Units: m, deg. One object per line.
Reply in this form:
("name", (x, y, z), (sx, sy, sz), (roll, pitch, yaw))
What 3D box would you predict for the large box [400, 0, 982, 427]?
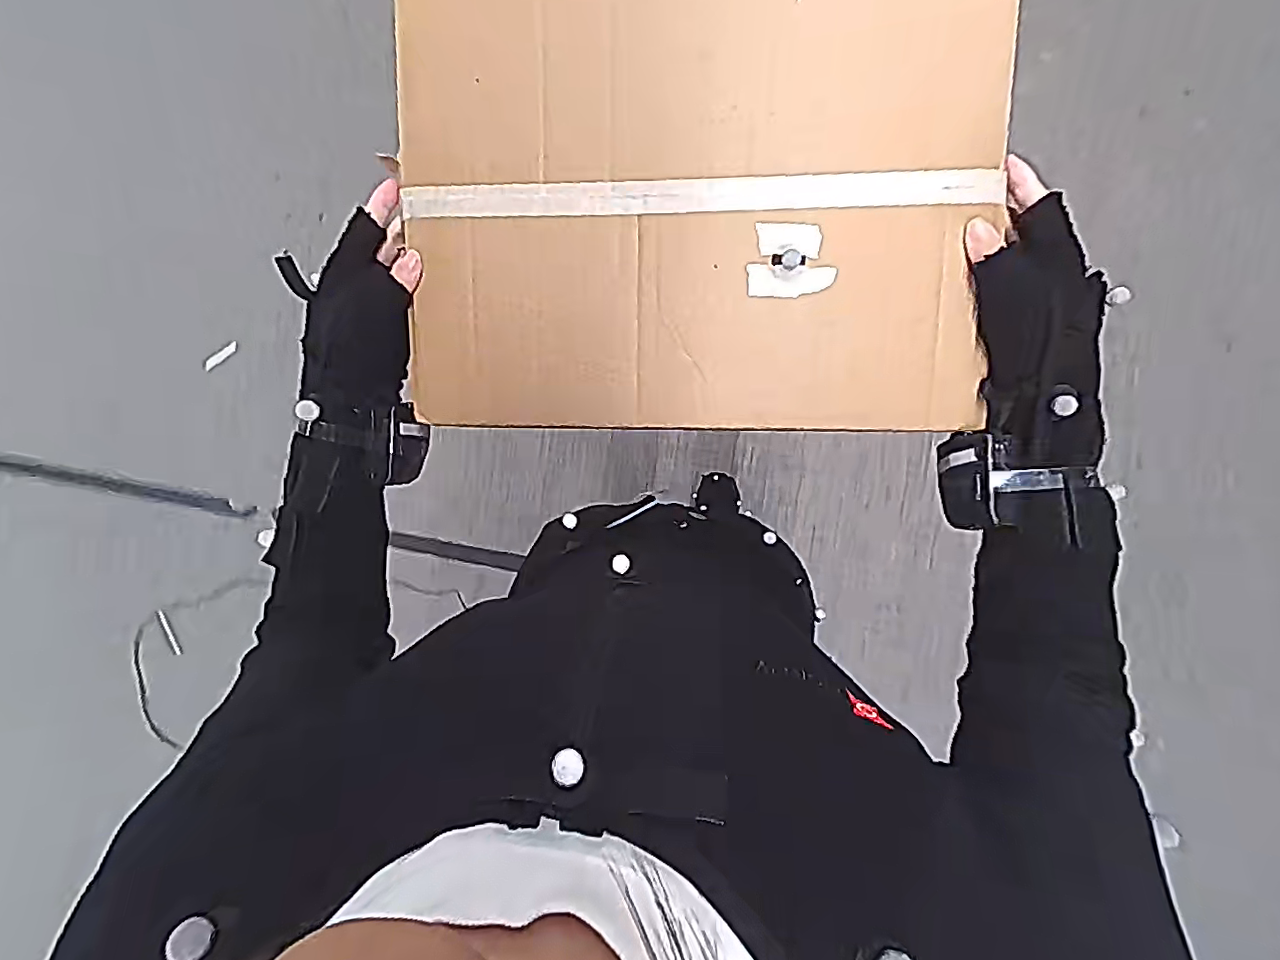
("large box", (0.039, -0.216, 0.531), (0.408, 0.320, 0.320), (-1, 97, 3))
